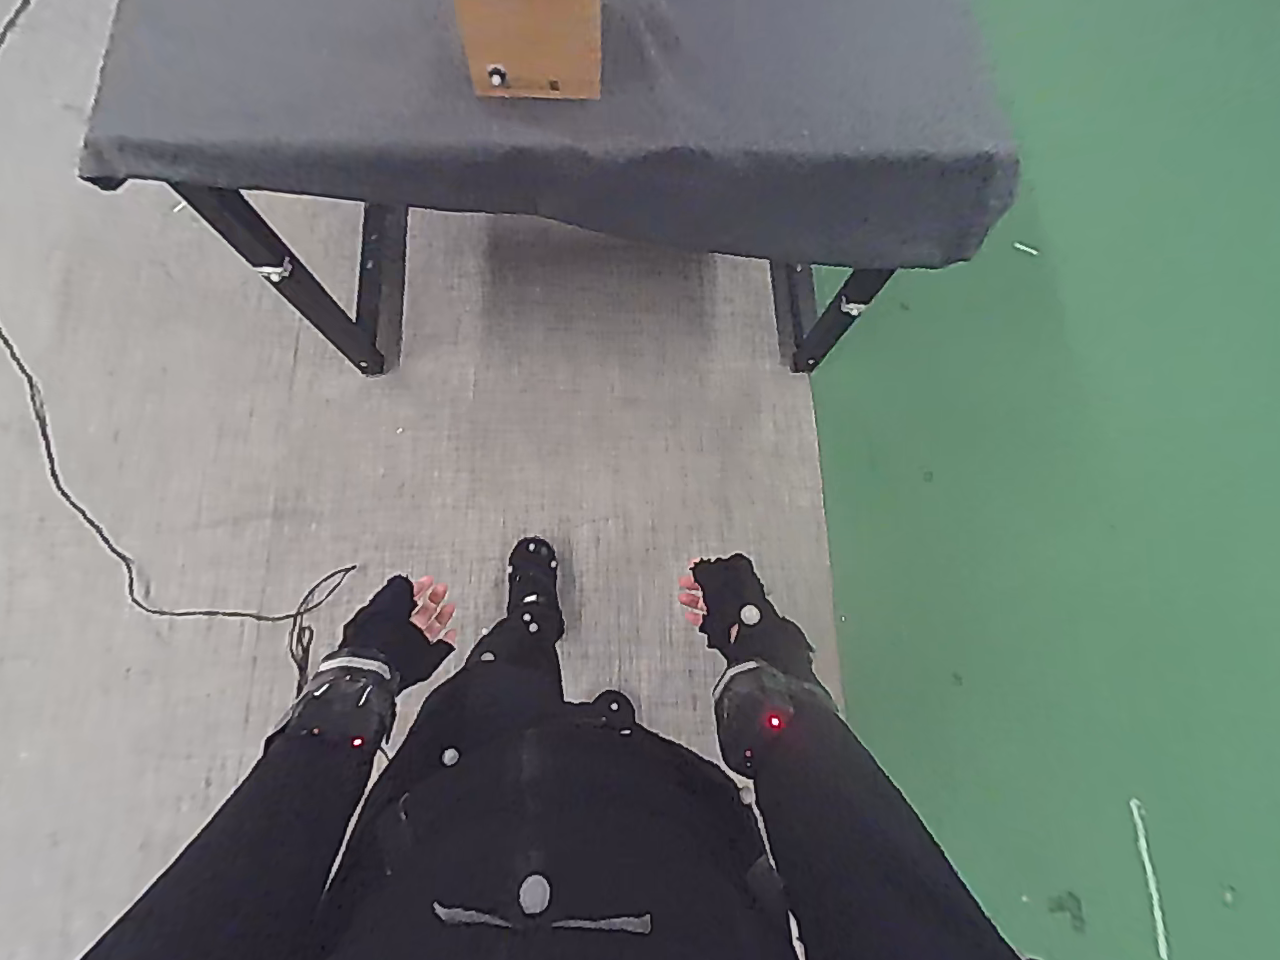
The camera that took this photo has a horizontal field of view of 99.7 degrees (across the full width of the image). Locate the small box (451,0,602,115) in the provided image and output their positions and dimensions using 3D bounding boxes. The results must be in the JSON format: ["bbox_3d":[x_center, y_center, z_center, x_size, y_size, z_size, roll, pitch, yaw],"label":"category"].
[{"bbox_3d":[-0.136,-0.600,0.687,0.168,0.176,0.179,-4,76,-4],"label":"small box"}]
